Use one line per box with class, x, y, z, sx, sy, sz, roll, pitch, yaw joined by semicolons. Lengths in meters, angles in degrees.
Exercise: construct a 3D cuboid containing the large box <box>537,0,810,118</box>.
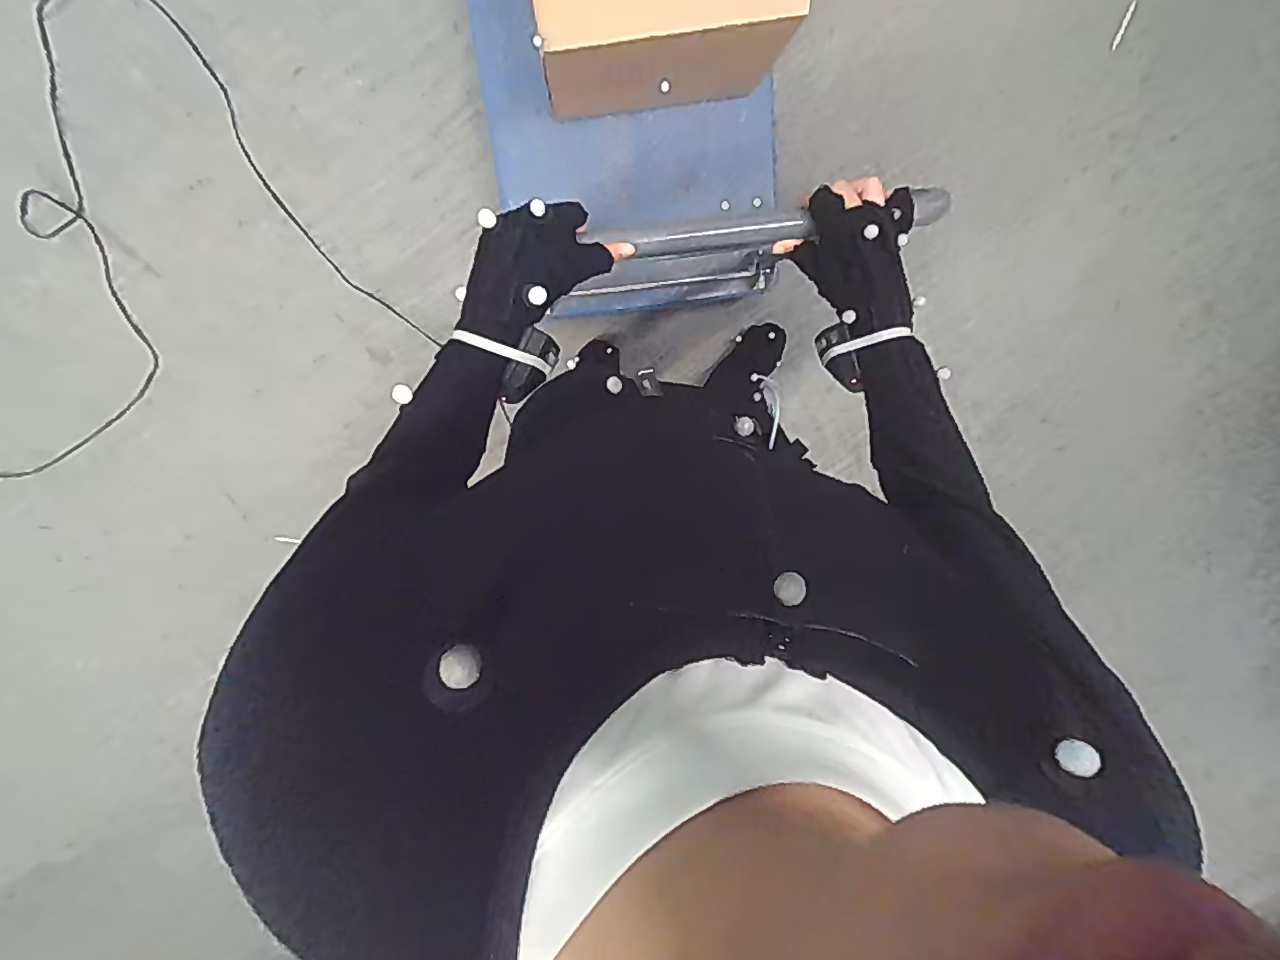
large box;0.025;-0.853;0.899;0.408;0.320;0.320;-10;107;-1
